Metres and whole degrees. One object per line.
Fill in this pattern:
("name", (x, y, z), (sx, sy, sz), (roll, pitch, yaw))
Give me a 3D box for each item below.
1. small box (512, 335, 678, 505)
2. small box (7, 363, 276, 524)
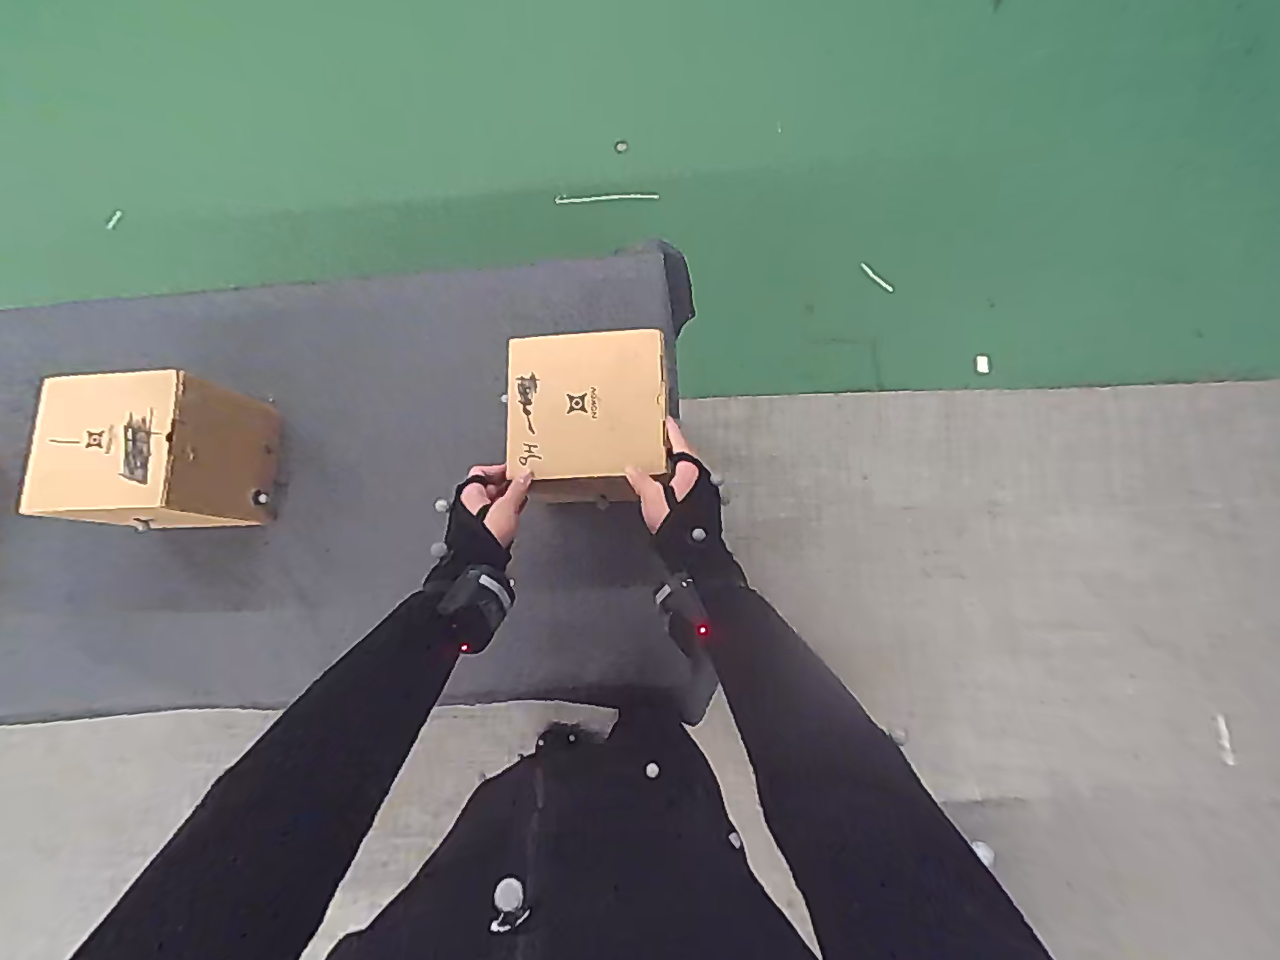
("small box", (-0.045, -0.064, 0.660), (0.179, 0.176, 0.168), (-1, 78, 3))
("small box", (-0.604, -0.037, 0.682), (0.179, 0.176, 0.168), (-1, 77, 3))
